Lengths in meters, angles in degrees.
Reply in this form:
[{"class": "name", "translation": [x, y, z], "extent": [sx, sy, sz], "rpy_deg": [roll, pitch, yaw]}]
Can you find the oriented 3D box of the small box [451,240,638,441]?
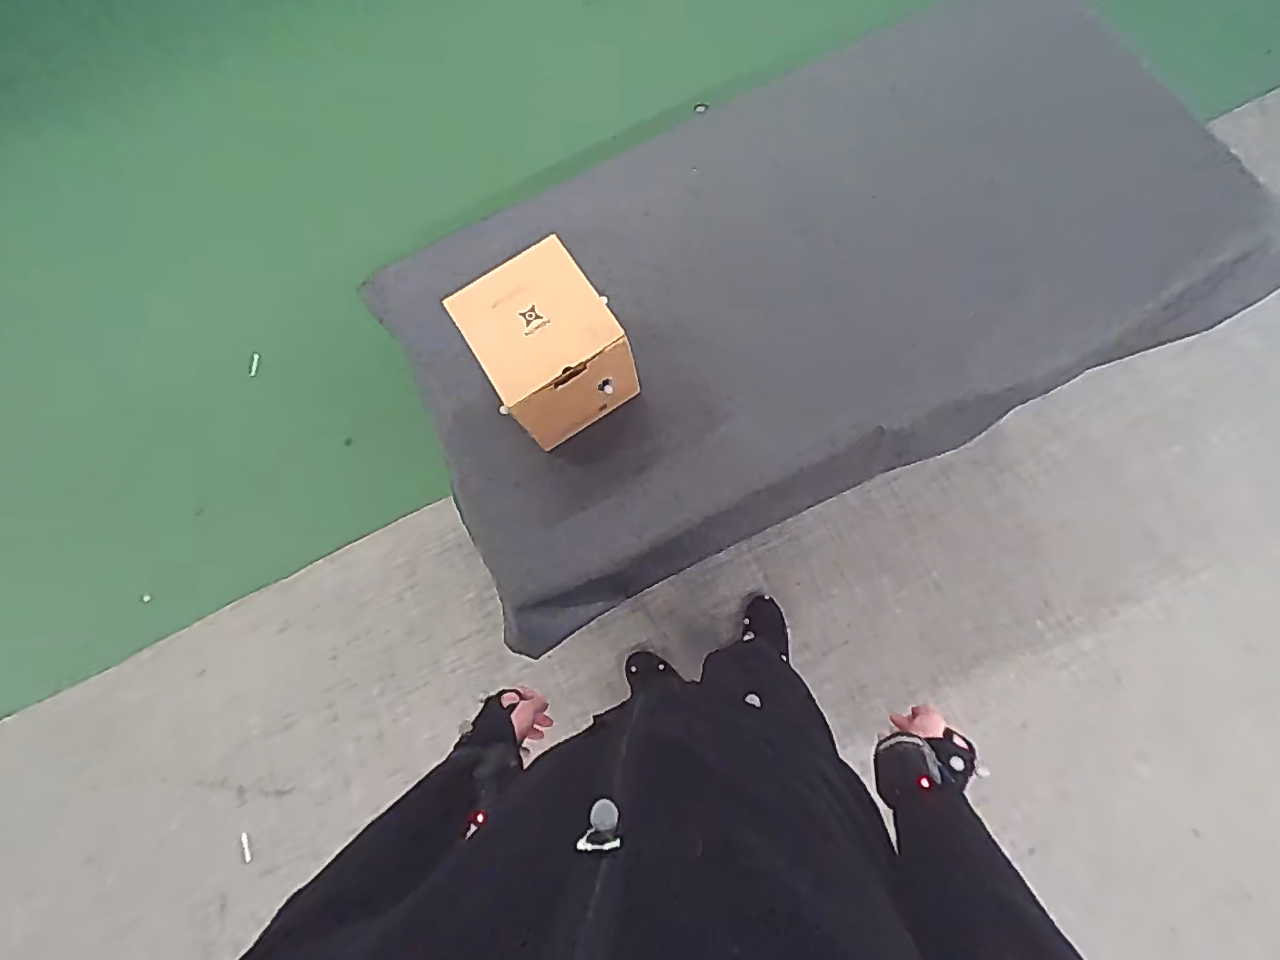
[{"class": "small box", "translation": [-0.116, -0.172, 0.731], "extent": [0.168, 0.176, 0.179], "rpy_deg": [-33, 75, -5]}]
